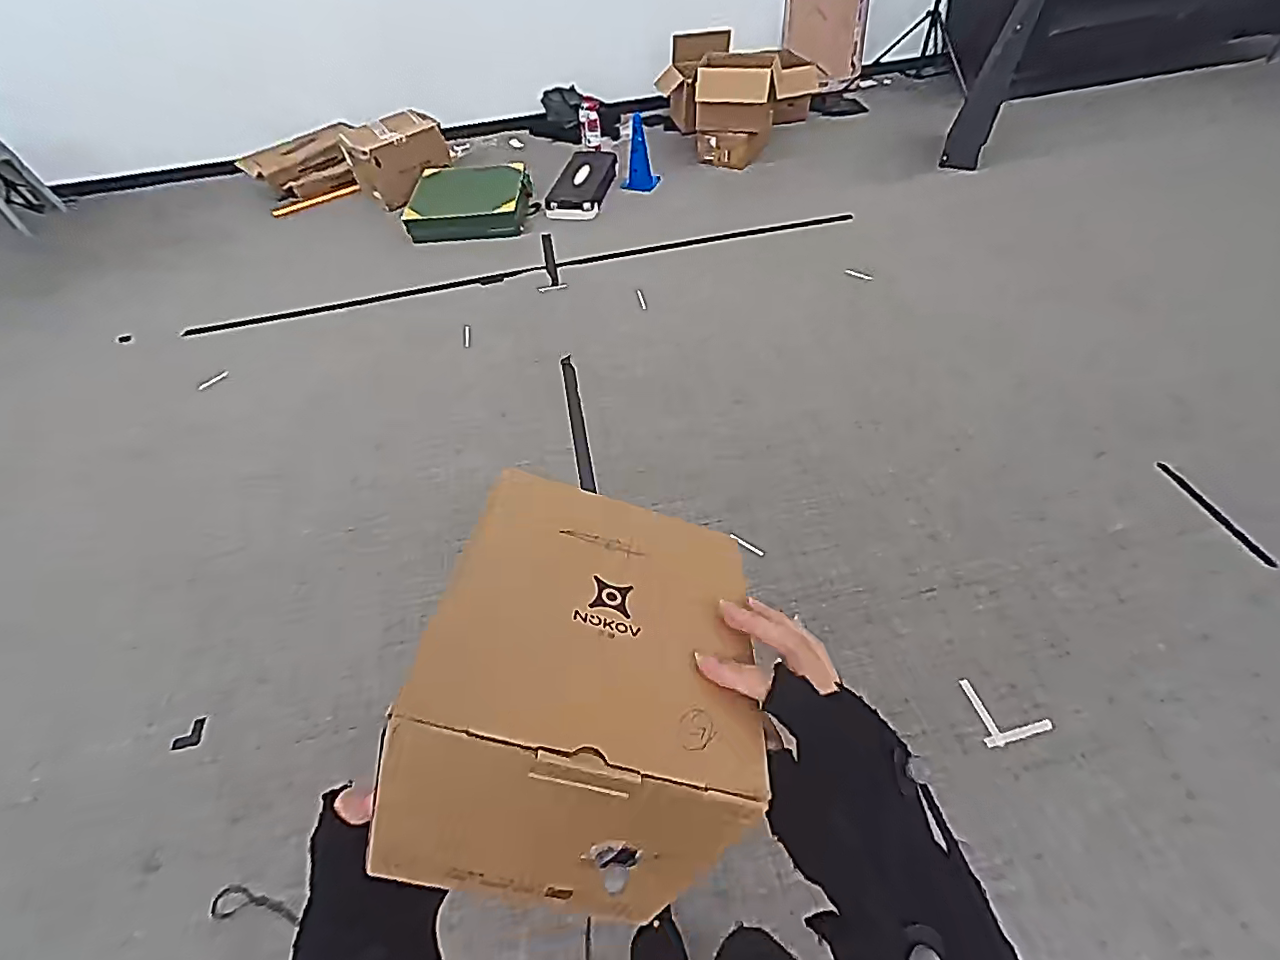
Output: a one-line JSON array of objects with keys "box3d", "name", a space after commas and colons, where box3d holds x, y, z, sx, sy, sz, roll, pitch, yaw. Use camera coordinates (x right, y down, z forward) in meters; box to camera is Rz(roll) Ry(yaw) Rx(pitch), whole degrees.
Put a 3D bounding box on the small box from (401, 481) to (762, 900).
[{"box3d": [-0.039, 0.135, 0.349, 0.168, 0.176, 0.179, 17, 34, -8], "name": "small box"}]
